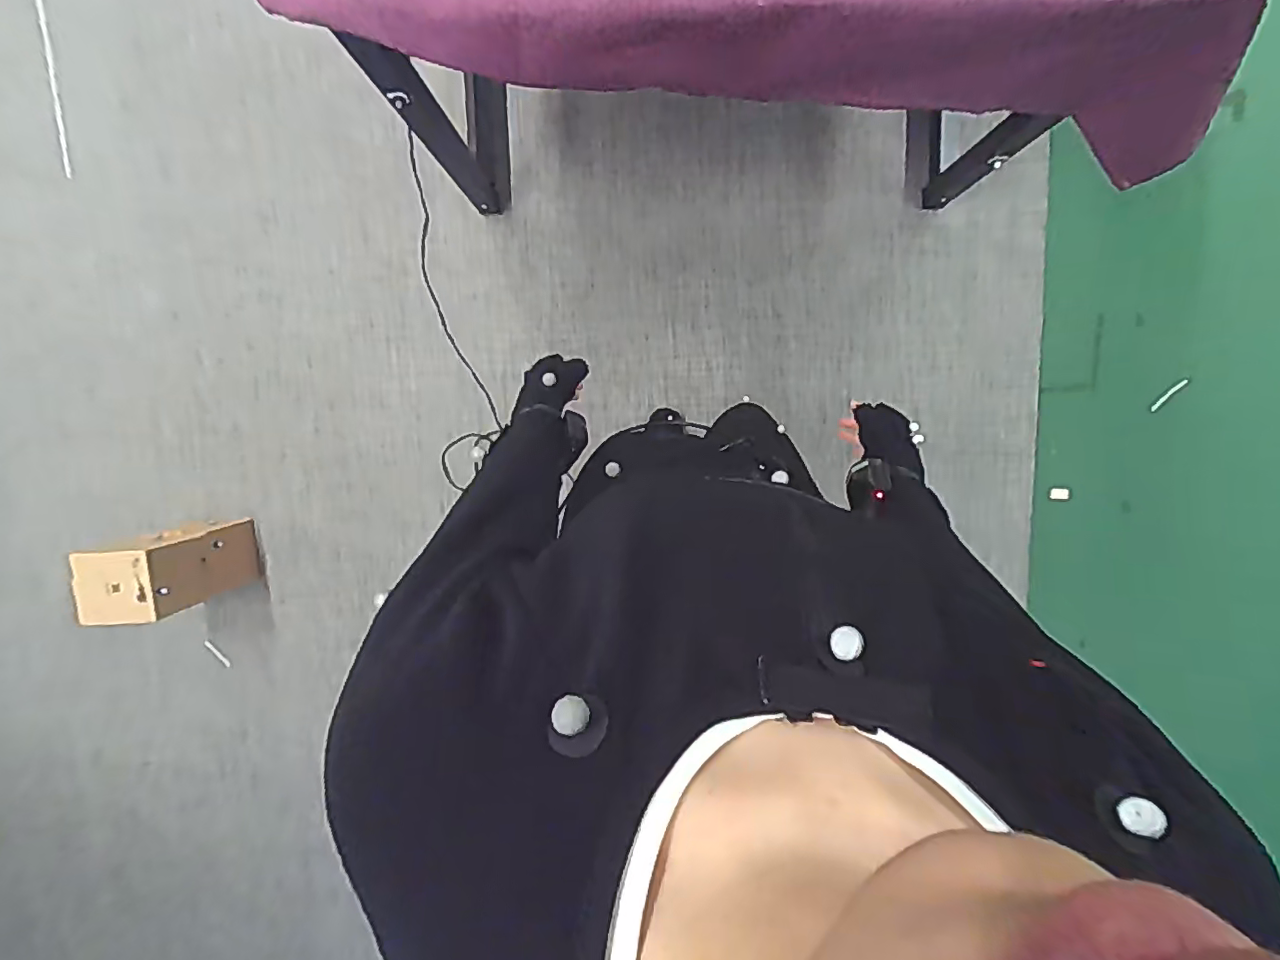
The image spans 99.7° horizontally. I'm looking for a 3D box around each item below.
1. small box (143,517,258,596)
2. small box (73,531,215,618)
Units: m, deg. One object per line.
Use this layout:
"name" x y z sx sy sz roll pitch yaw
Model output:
"small box" -1.151 0.199 1.432 0.168 0.176 0.179 -2 96 1
"small box" -1.153 0.217 1.268 0.179 0.176 0.168 -2 96 2
